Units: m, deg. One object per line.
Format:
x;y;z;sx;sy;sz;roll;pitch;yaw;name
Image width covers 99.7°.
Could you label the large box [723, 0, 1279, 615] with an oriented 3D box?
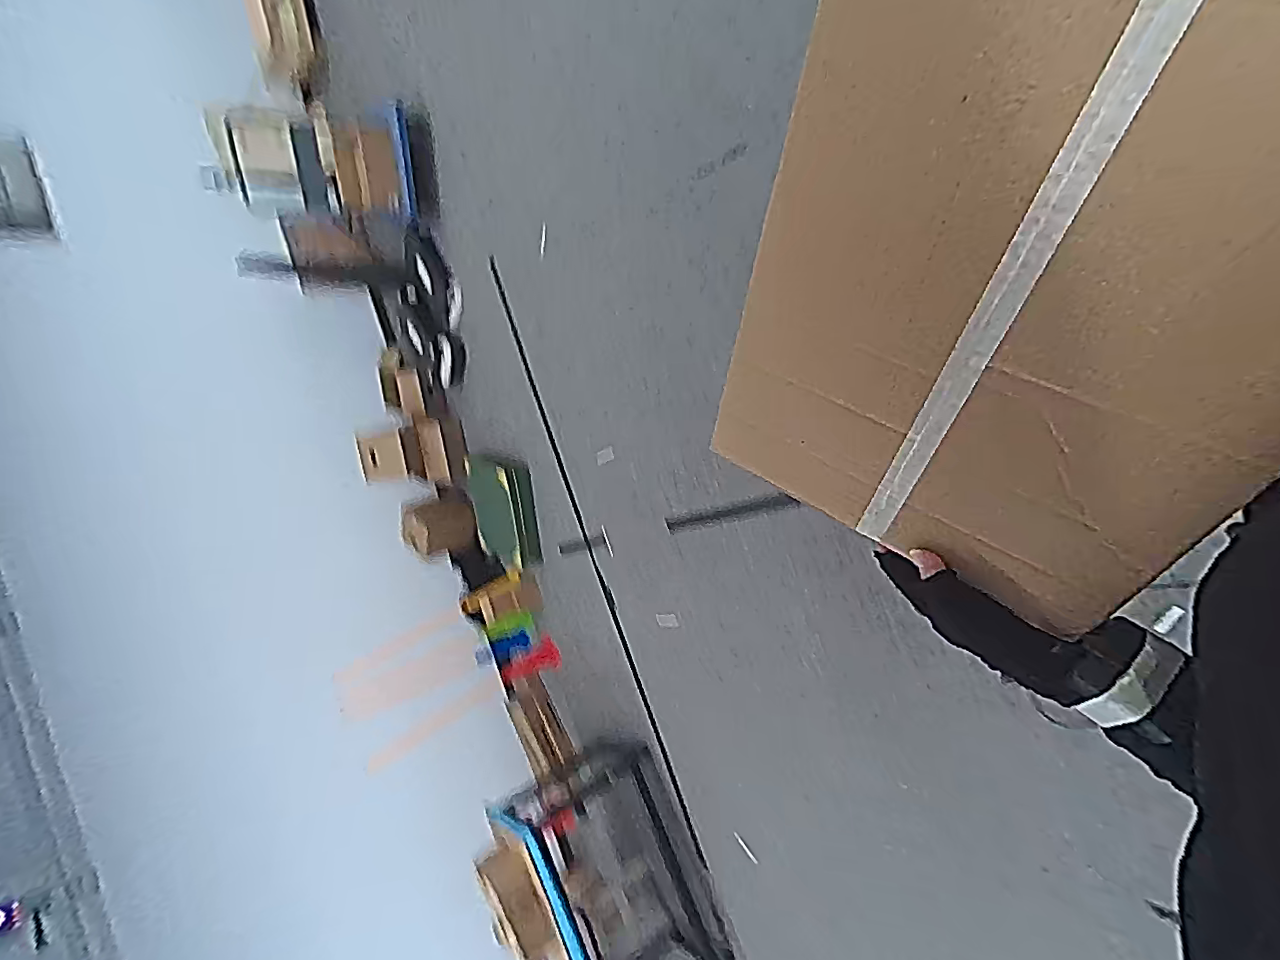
0.307;-0.190;0.412;0.320;0.320;0.408;33;138;23;large box
